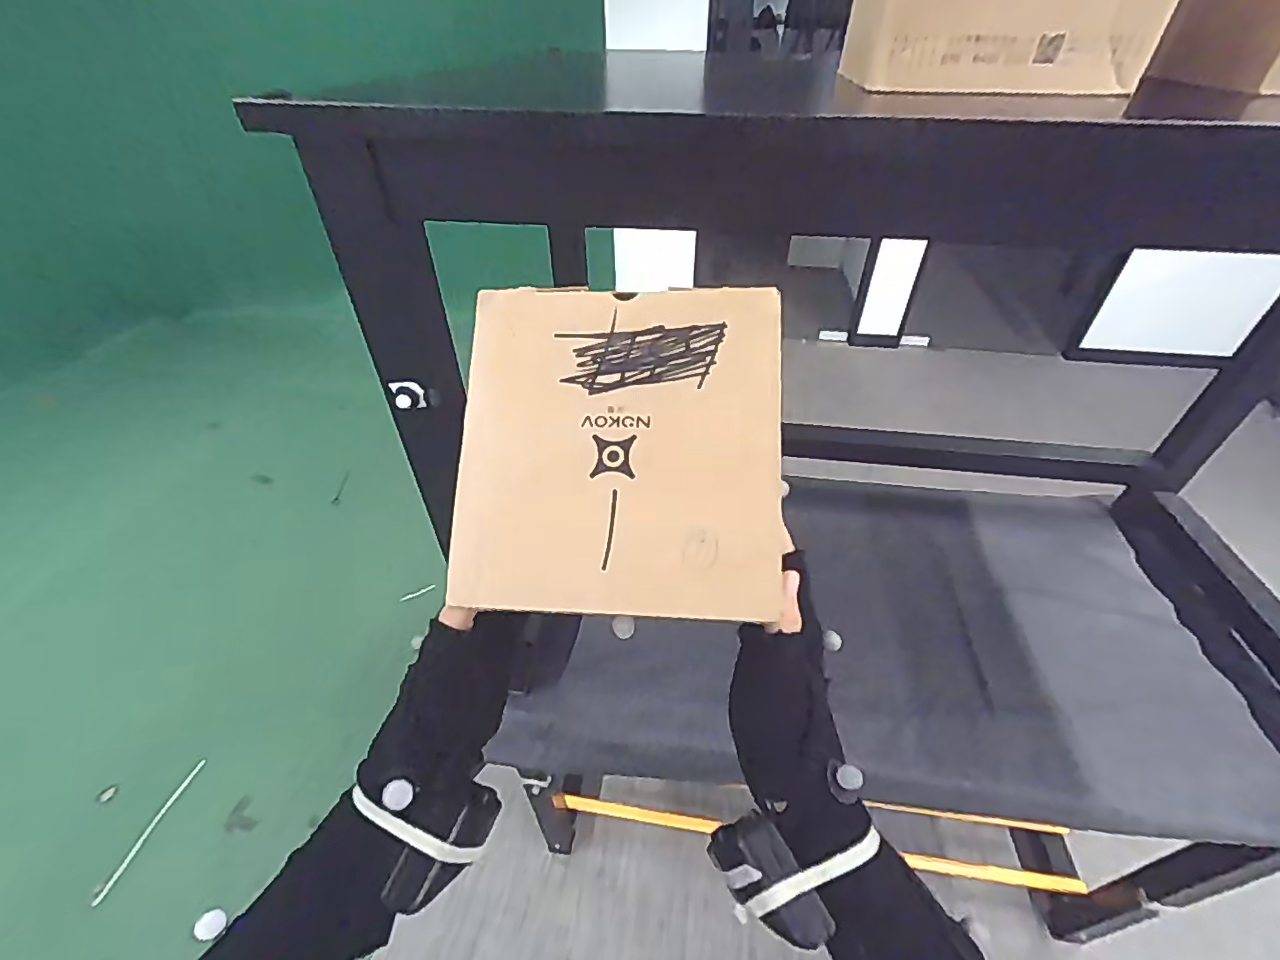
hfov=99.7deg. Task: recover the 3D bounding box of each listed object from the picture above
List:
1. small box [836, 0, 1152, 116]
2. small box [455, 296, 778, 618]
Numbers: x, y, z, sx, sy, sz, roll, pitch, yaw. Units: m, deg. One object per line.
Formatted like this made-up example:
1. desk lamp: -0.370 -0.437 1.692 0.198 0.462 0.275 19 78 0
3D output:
1. small box: 0.247 -0.367 0.382 0.168 0.176 0.179 6 40 7
2. small box: -0.003 -0.003 0.367 0.168 0.176 0.179 2 78 6
